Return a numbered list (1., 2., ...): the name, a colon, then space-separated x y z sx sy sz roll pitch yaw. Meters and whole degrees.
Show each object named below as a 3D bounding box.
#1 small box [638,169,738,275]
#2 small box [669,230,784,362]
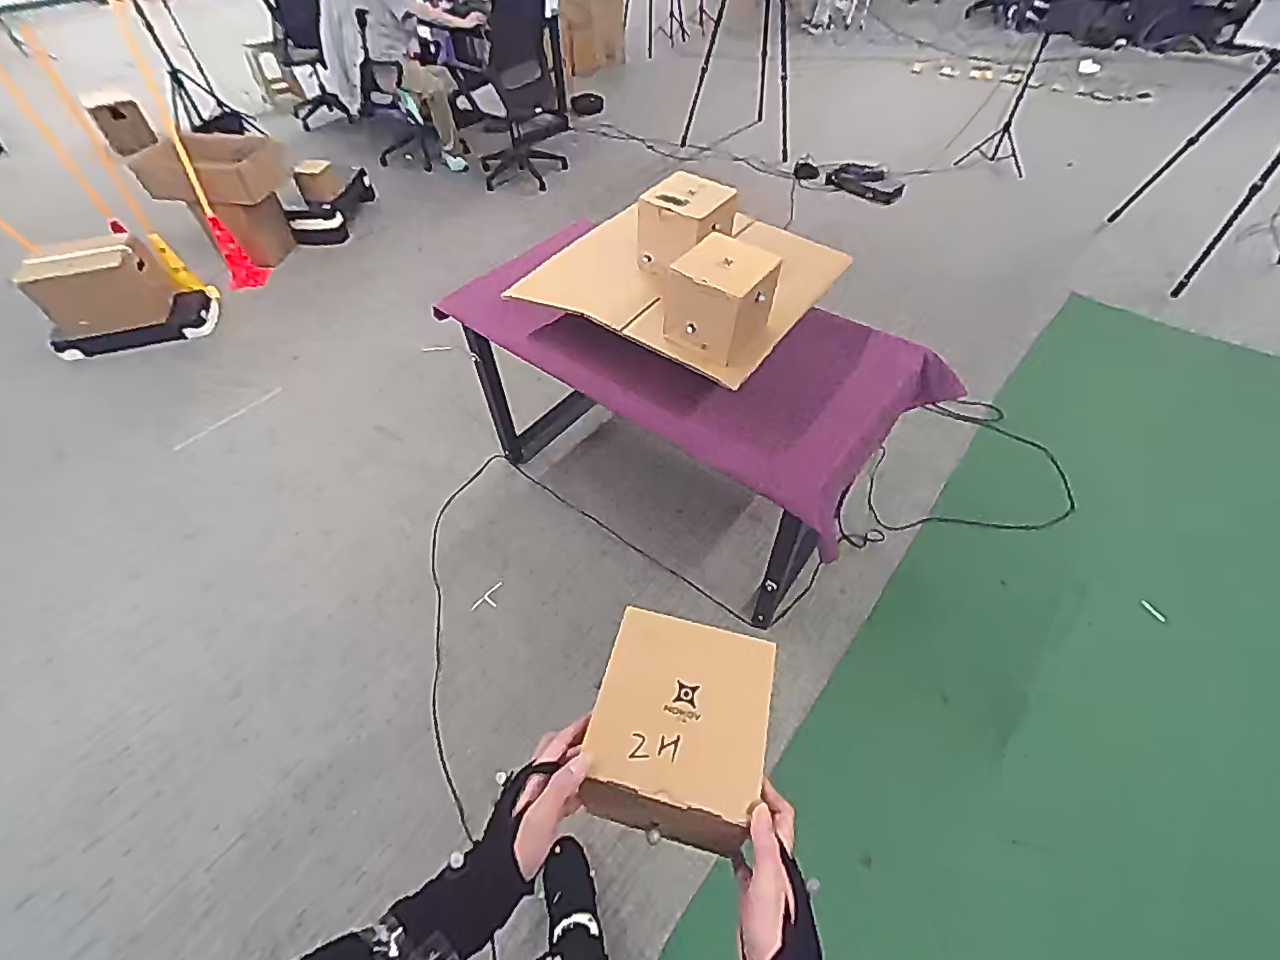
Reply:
1. small box: 0.110 -0.601 1.284 0.168 0.176 0.179 31 58 20
2. small box: 0.170 -0.380 1.122 0.168 0.176 0.179 31 59 20
